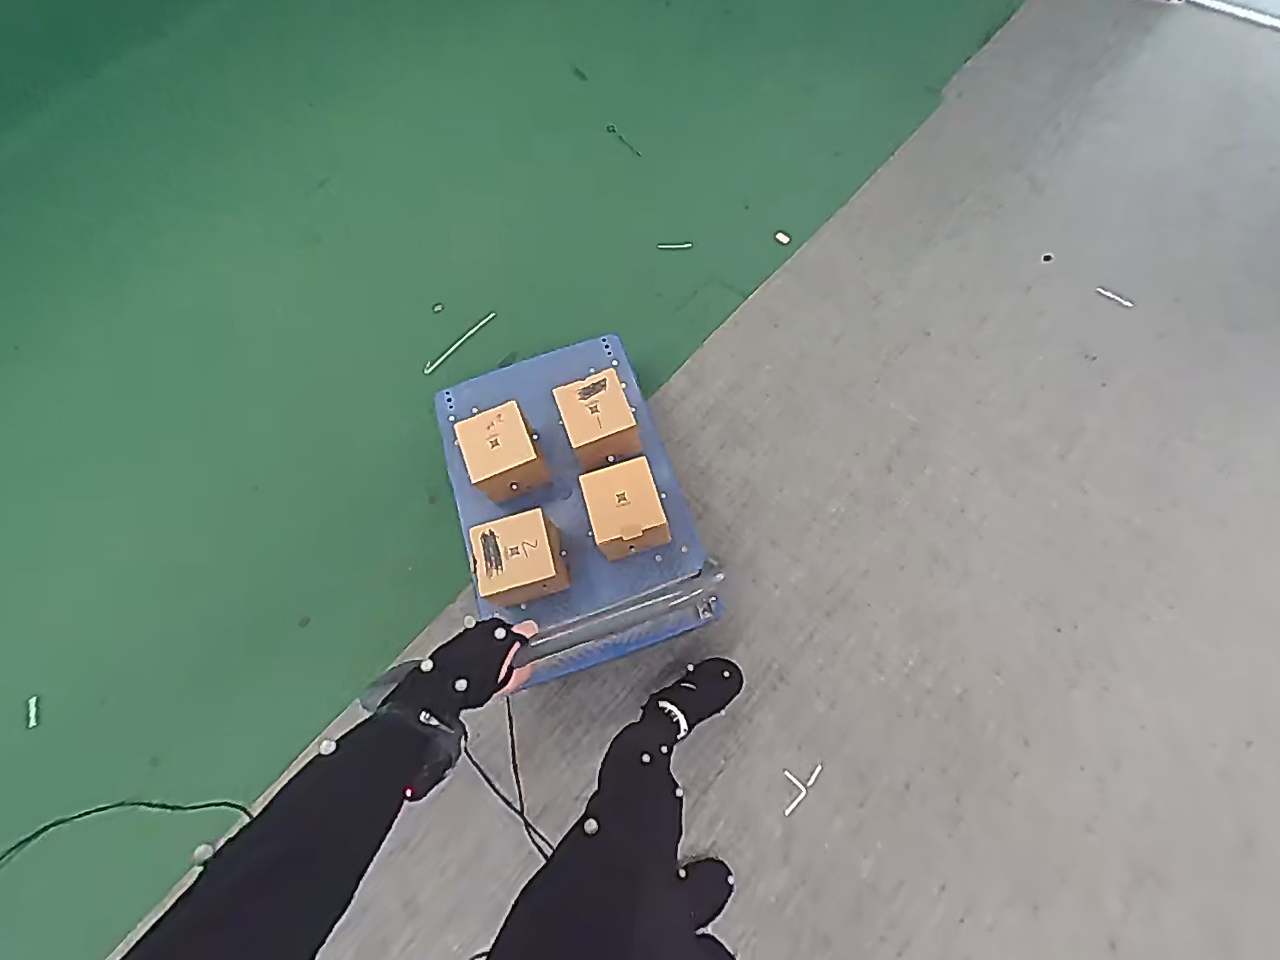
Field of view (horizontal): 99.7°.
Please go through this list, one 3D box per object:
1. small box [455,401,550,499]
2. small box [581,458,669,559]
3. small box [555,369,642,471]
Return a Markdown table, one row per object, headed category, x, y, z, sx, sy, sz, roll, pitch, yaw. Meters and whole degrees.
| category | x | y | z | sx | sy | sz | roll | pitch | yaw |
| --- | --- | --- | --- | --- | --- | --- | --- | --- | --- |
| small box | -0.343 | -0.066 | 1.381 | 0.168 | 0.176 | 0.179 | -22 | 70 | -4 |
| small box | -0.032 | 0.074 | 1.301 | 0.168 | 0.176 | 0.179 | -17 | 70 | -1 |
| small box | -0.102 | -0.149 | 1.388 | 0.168 | 0.176 | 0.179 | -21 | 70 | -2 |
